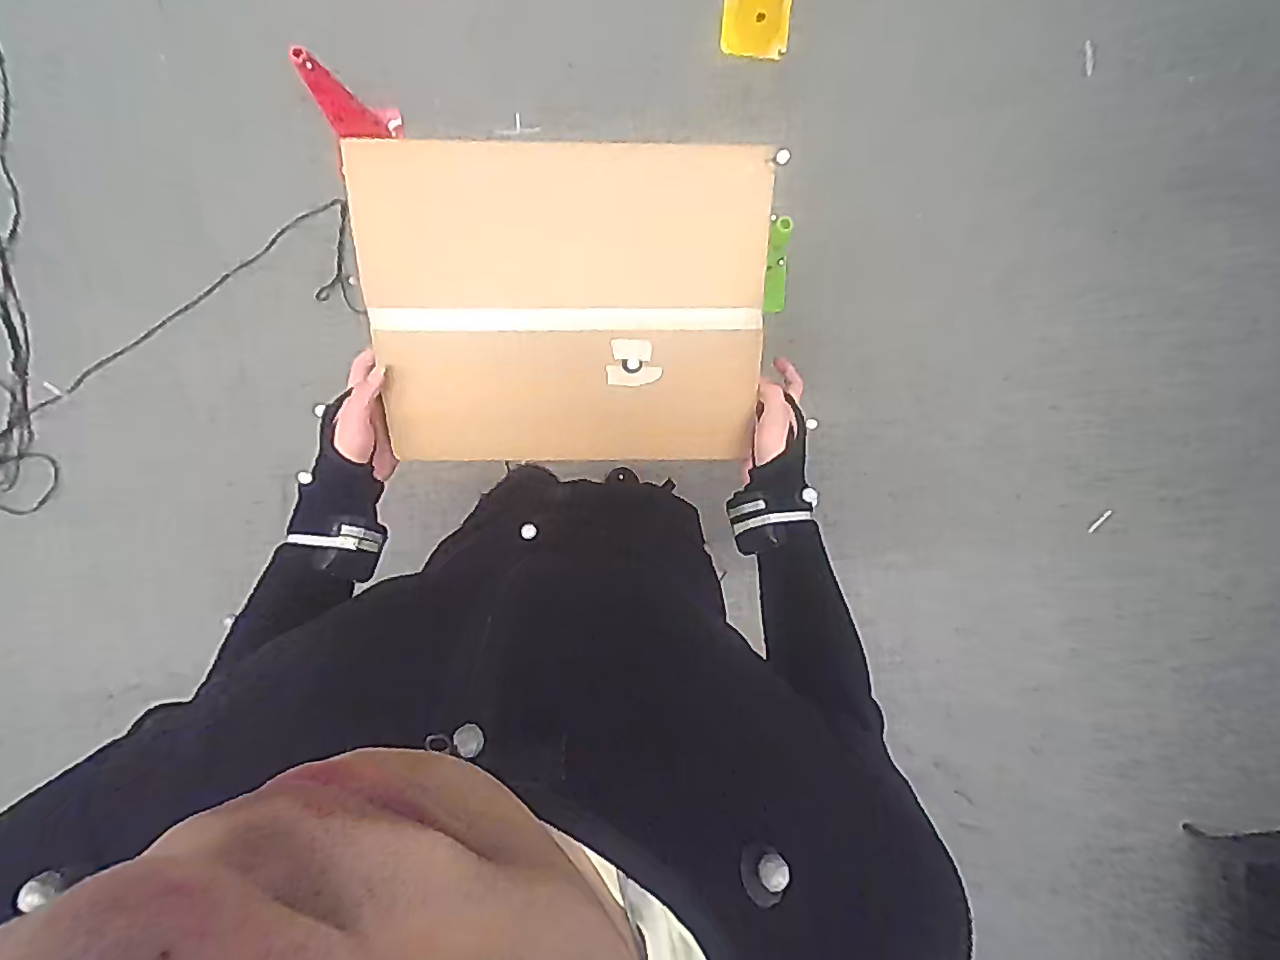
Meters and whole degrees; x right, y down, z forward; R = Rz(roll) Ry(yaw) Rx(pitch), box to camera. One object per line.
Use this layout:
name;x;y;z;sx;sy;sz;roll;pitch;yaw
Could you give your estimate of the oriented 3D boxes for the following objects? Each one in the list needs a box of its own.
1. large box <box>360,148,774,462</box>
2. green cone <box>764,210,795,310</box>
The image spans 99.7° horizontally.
large box;-0.074;-0.222;0.707;0.408;0.320;0.320;-1;112;-3
green cone;0.345;-0.613;1.452;0.200;0.368;0.202;2;90;-2
